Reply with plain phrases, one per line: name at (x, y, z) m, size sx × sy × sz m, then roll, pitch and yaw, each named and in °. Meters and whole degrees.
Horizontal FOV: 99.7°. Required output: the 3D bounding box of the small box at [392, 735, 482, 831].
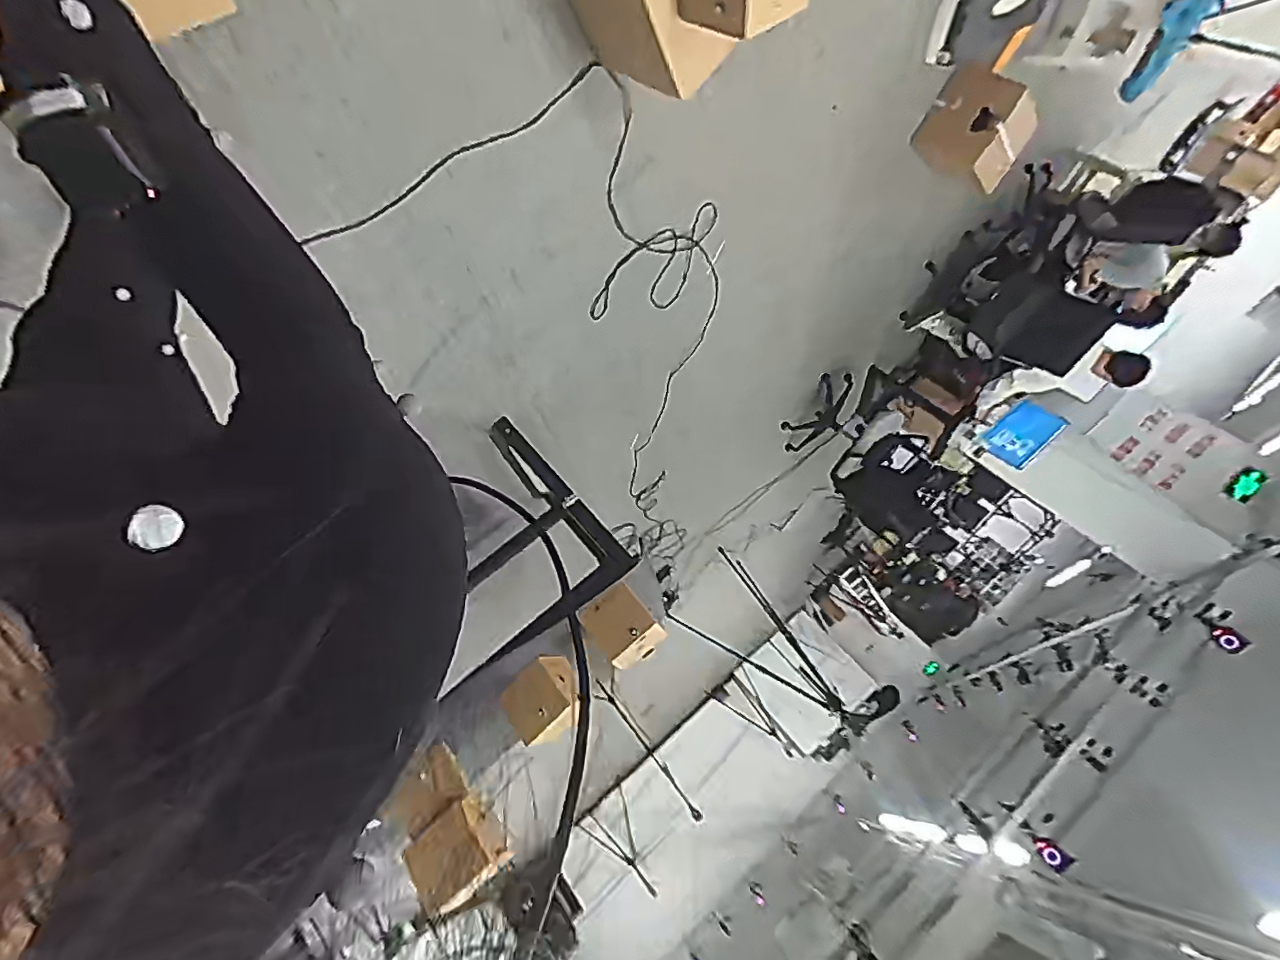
small box at (-0.542, 0.827, 1.465) m, size 0.168 × 0.176 × 0.179 m, roll -32°, pitch 150°, yaw -26°

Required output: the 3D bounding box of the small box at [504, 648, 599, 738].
small box at (-0.258, 0.607, 1.564) m, size 0.179 × 0.176 × 0.168 m, roll -46°, pitch 152°, yaw 3°

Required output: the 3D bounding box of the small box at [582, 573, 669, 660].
small box at (-0.041, 0.394, 1.570) m, size 0.168 × 0.176 × 0.179 m, roll -41°, pitch 153°, yaw -7°

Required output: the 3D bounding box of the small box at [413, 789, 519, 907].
small box at (-0.444, 0.918, 1.369) m, size 0.179 × 0.176 × 0.168 m, roll -41°, pitch 153°, yaw -12°
